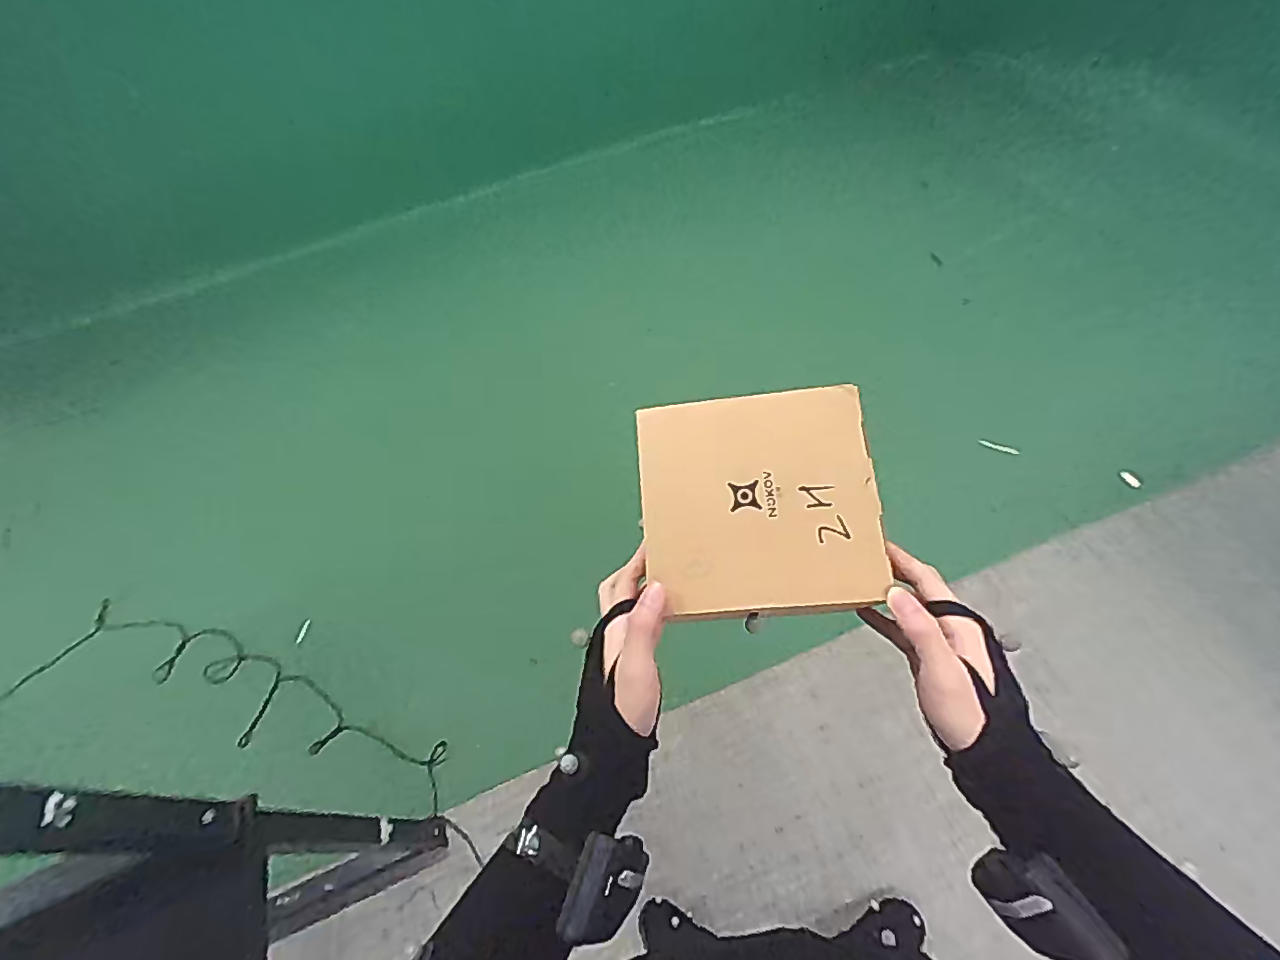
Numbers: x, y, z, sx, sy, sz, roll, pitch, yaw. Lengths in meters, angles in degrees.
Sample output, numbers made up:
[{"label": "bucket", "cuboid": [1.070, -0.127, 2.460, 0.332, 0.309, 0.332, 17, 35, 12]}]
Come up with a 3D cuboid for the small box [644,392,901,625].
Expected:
[{"label": "small box", "cuboid": [0.104, 0.039, 0.481, 0.179, 0.176, 0.168, -5, 73, 7]}]
